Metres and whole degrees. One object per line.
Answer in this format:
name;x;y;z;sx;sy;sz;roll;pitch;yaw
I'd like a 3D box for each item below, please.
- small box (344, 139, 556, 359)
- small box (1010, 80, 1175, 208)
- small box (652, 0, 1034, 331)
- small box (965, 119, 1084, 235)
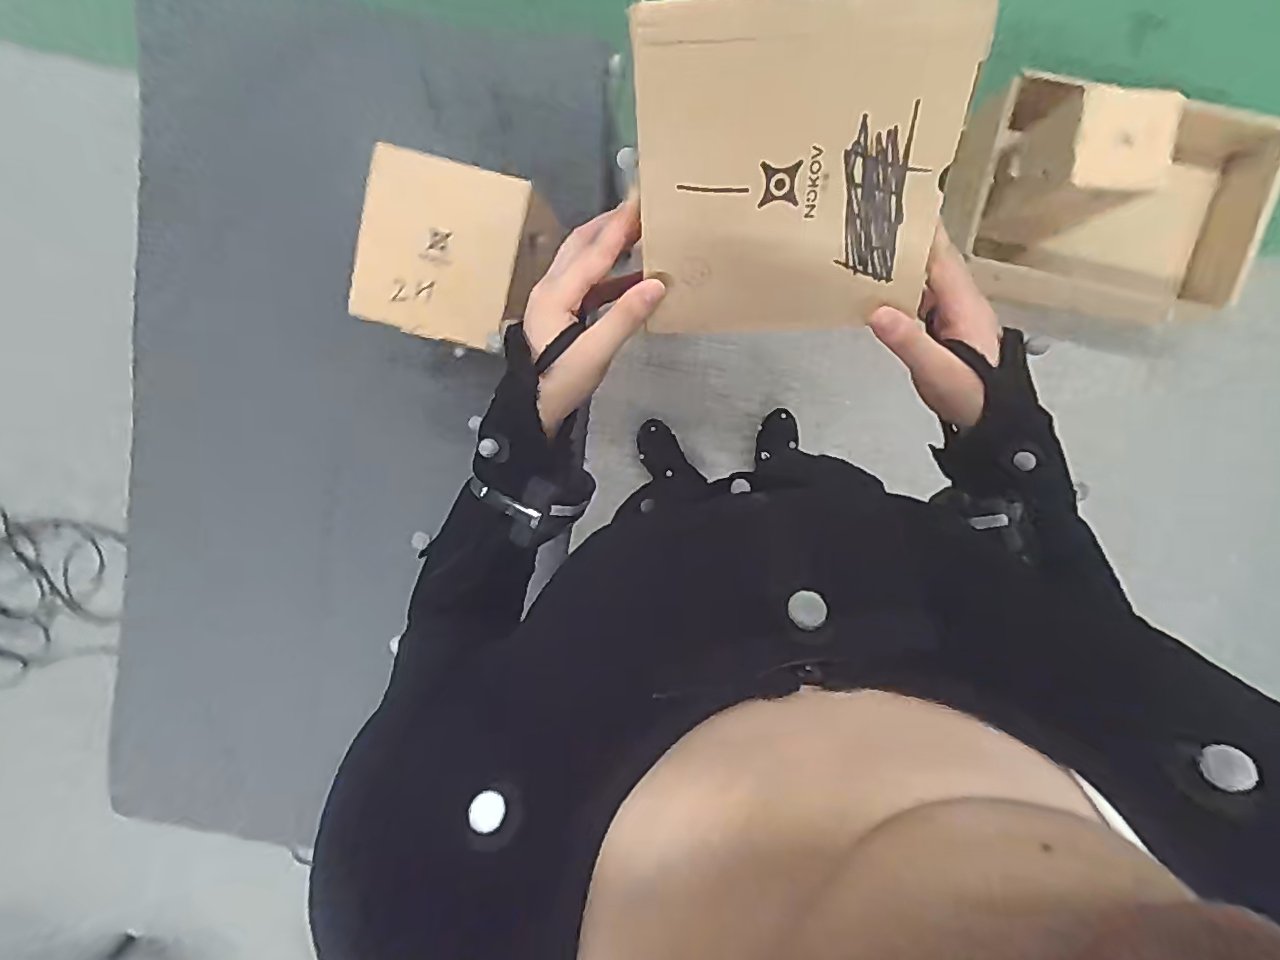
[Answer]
small box;-0.203;-0.248;0.625;0.168;0.176;0.179;15;100;1
small box;0.873;-0.649;1.062;0.179;0.176;0.168;2;101;-1
small box;0.097;-0.209;0.359;0.179;0.176;0.168;0;126;1
small box;0.881;-0.675;1.224;0.179;0.176;0.168;12;100;0
